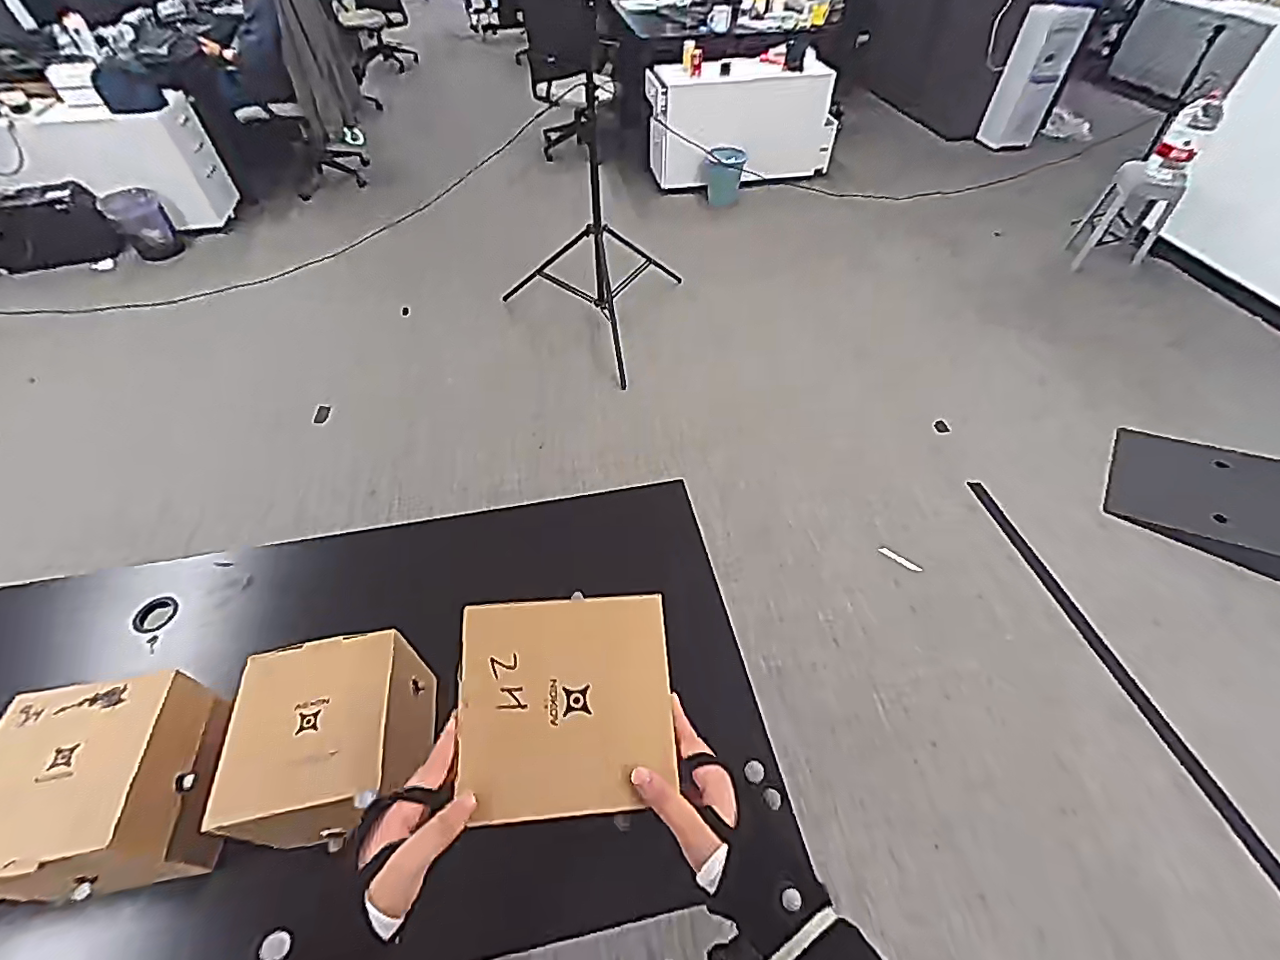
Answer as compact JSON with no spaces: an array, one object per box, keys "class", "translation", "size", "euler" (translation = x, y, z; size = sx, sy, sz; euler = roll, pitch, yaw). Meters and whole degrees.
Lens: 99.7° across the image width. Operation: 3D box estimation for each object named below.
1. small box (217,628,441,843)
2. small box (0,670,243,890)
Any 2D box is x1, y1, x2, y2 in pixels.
[{"class":"small box","translation":[-0.345,0.304,0.643],"size":[0.168,0.176,0.179],"euler":[-10,52,-7]},{"class":"small box","translation":[-0.578,0.341,0.610],"size":[0.168,0.176,0.179],"euler":[-8,51,-8]}]
